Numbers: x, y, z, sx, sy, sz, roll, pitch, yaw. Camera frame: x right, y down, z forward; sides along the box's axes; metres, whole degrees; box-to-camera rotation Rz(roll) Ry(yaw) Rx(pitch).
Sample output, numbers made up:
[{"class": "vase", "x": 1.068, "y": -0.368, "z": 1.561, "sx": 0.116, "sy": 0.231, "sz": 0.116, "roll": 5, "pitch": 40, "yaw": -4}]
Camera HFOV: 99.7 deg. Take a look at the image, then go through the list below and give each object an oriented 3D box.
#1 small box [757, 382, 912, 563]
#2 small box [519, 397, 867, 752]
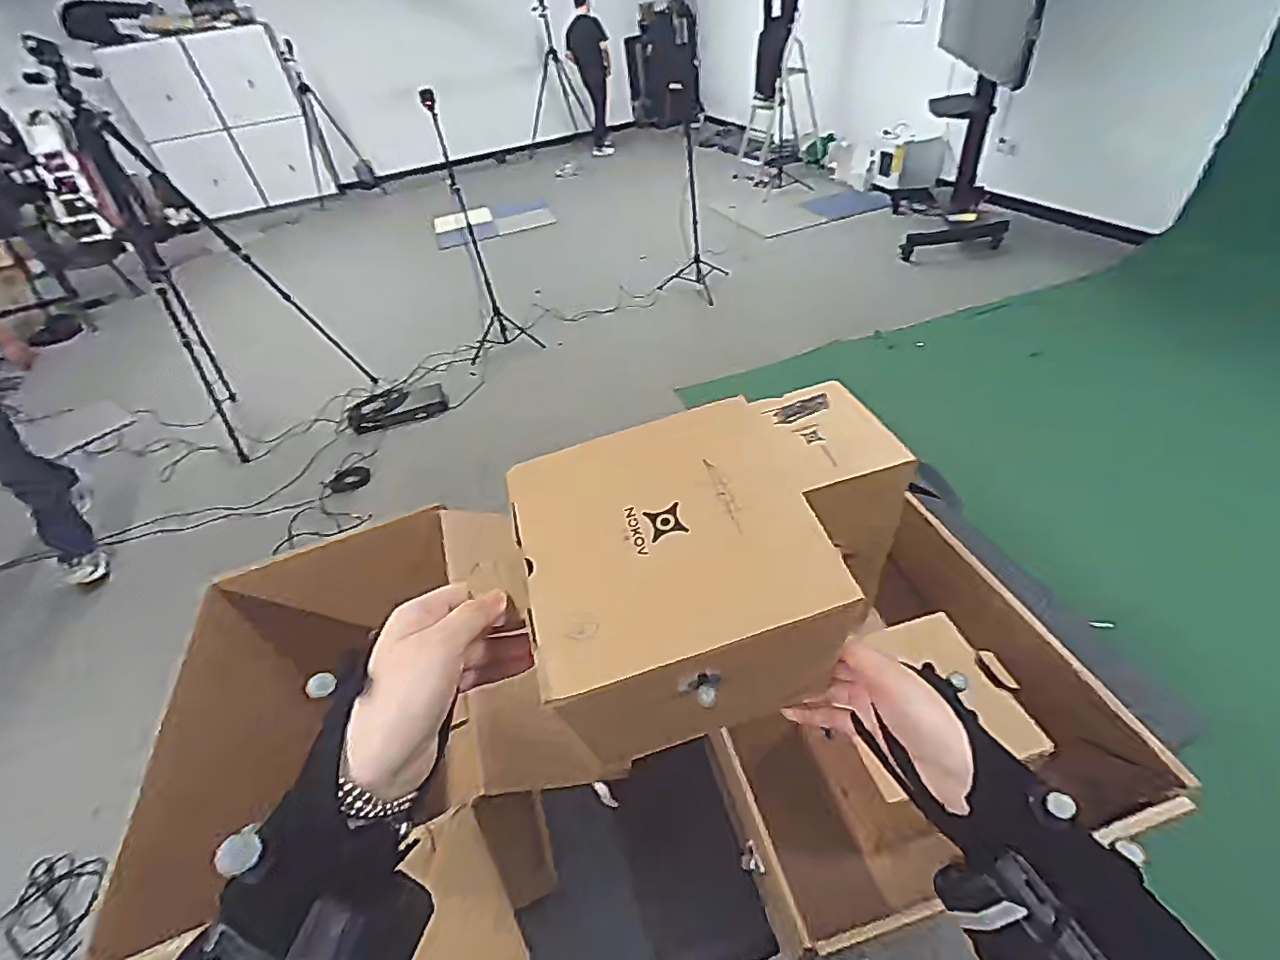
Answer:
[{"class": "small box", "x": 0.212, "y": 0.003, "z": 0.703, "sx": 0.168, "sy": 0.176, "sz": 0.179, "roll": -16, "pitch": 44, "yaw": -6}, {"class": "small box", "x": 0.031, "y": 0.074, "z": 0.391, "sx": 0.179, "sy": 0.176, "sz": 0.168, "roll": -18, "pitch": 52, "yaw": -3}]
